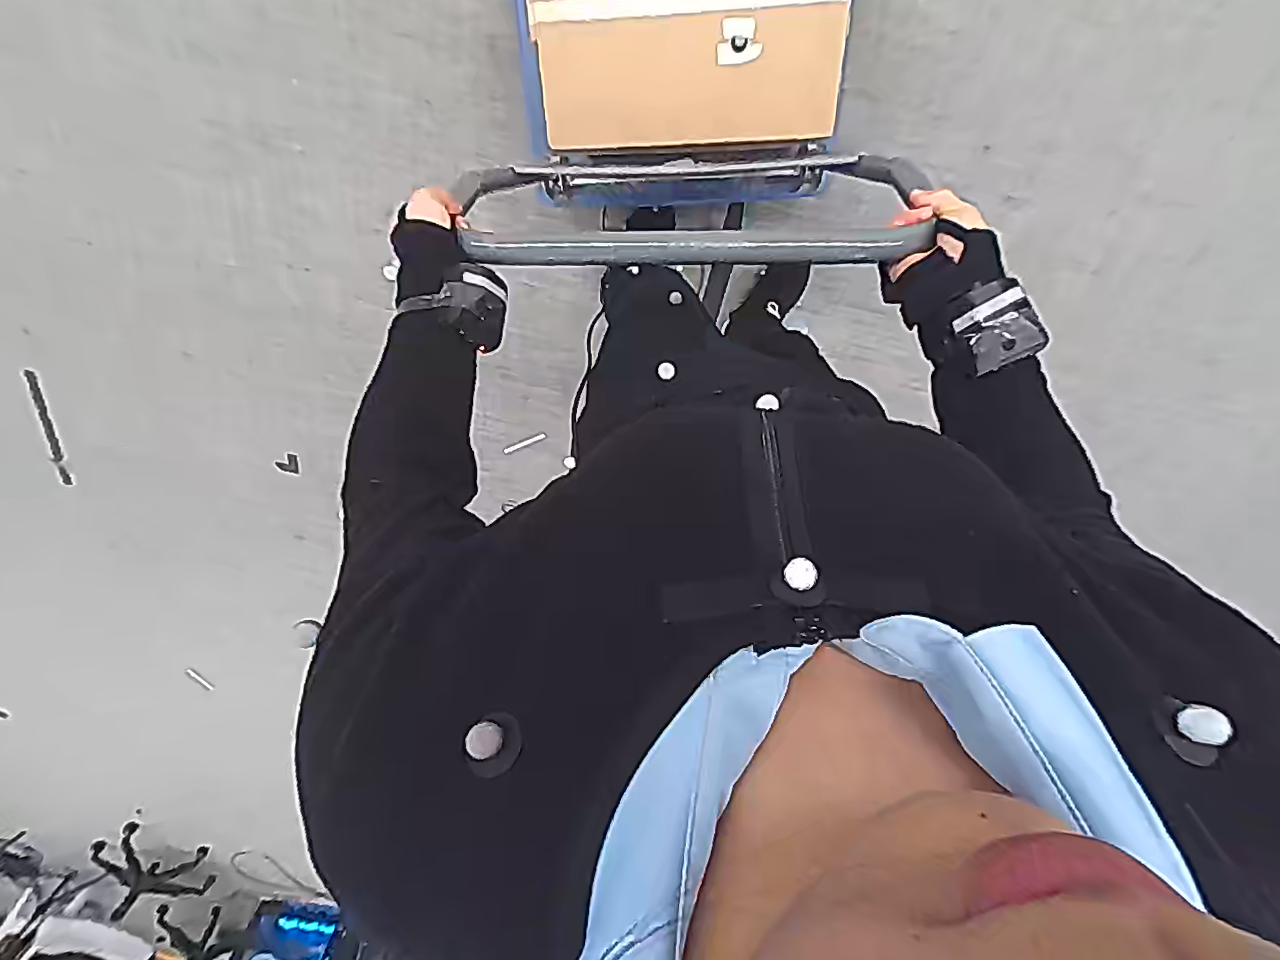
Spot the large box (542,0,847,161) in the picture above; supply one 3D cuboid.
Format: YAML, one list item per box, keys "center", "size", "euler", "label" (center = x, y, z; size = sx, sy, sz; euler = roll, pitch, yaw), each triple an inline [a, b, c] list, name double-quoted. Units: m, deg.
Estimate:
- center: [0.076, -0.688, 0.833]
  size: [0.408, 0.320, 0.320]
  euler: [-1, 120, 4]
  label: "large box"
